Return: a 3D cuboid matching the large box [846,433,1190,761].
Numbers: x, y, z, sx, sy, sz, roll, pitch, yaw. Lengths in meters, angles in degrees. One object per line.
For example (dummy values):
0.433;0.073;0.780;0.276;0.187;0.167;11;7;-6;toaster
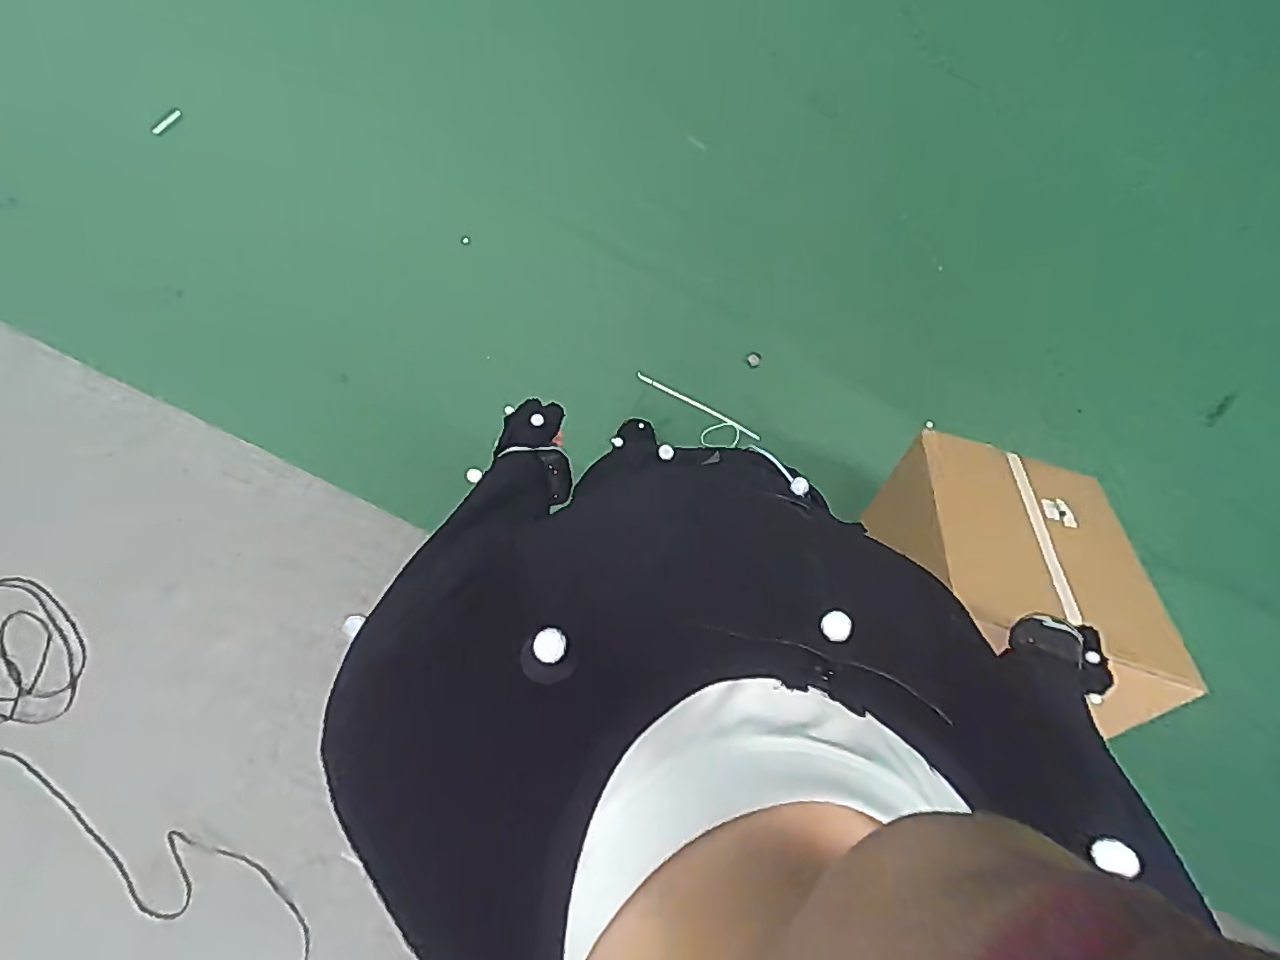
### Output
0.571;0.191;0.931;0.320;0.408;0.320;18;133;3;large box
